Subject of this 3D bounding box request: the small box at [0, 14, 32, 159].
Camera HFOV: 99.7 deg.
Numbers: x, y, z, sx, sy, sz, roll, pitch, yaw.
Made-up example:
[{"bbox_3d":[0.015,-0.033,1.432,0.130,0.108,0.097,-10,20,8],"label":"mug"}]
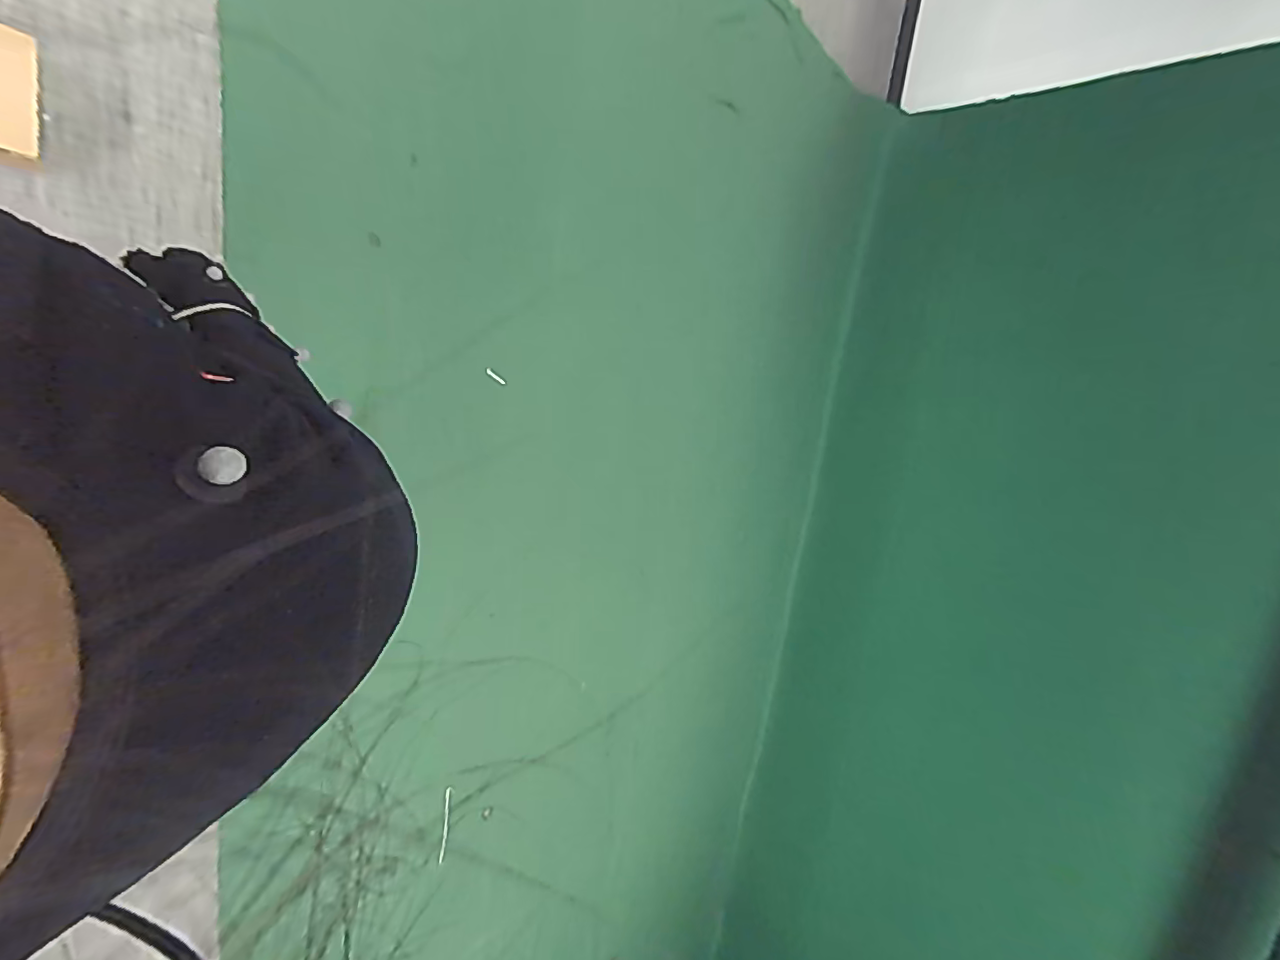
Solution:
[{"bbox_3d":[-1.040,-0.613,0.811,0.168,0.176,0.179,-1,104,-49],"label":"small box"}]
